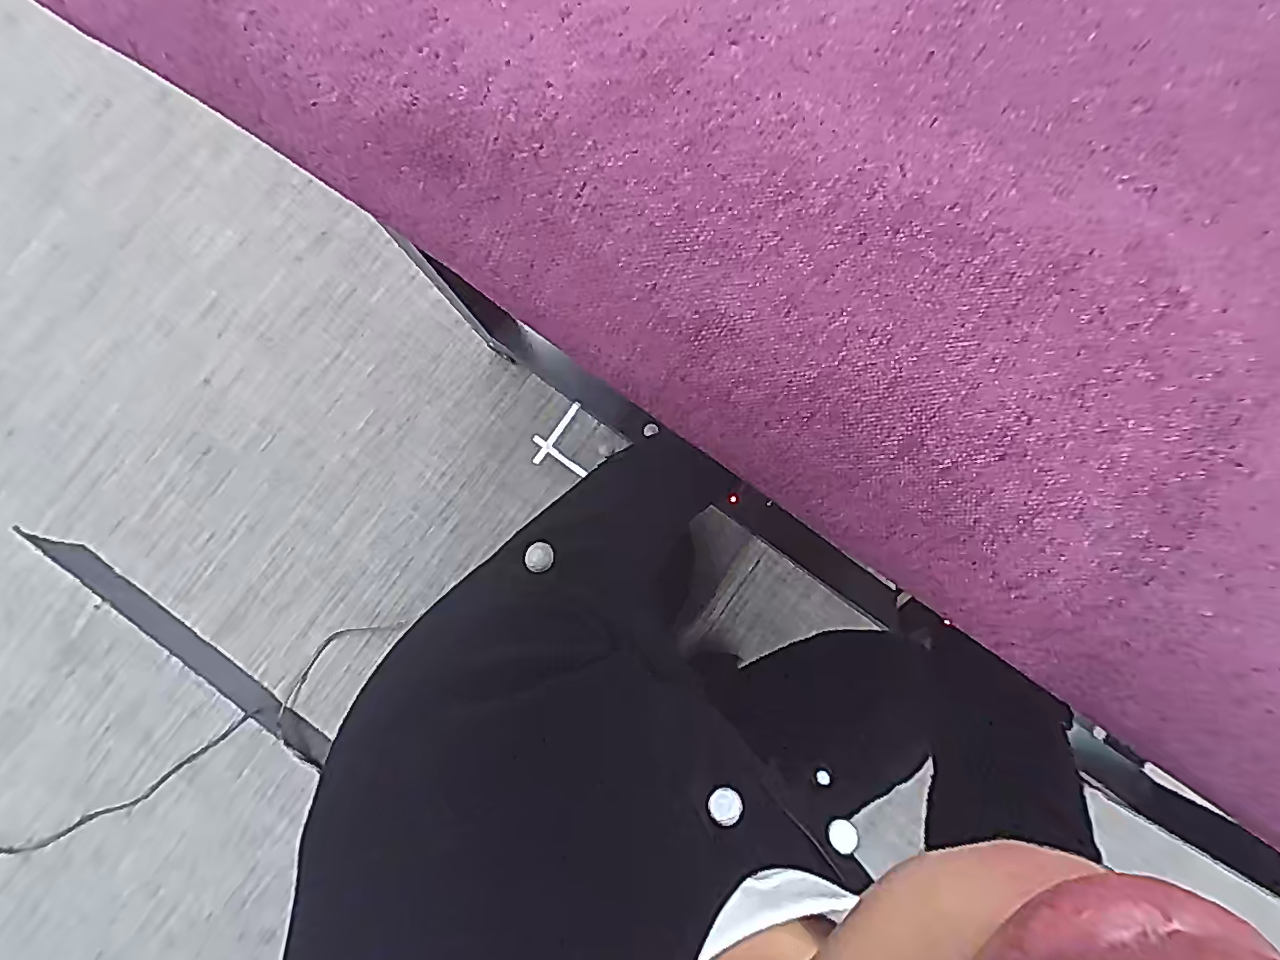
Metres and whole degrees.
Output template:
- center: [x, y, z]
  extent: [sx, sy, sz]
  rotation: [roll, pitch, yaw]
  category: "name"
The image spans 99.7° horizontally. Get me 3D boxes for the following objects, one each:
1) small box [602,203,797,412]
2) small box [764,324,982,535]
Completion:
- center: [0.069, -0.213, 0.720]
  extent: [0.179, 0.176, 0.168]
  rotation: [33, 69, 1]
  category: "small box"
- center: [0.287, -0.058, 0.694]
  extent: [0.179, 0.176, 0.168]
  rotation: [34, 57, 9]
  category: "small box"
